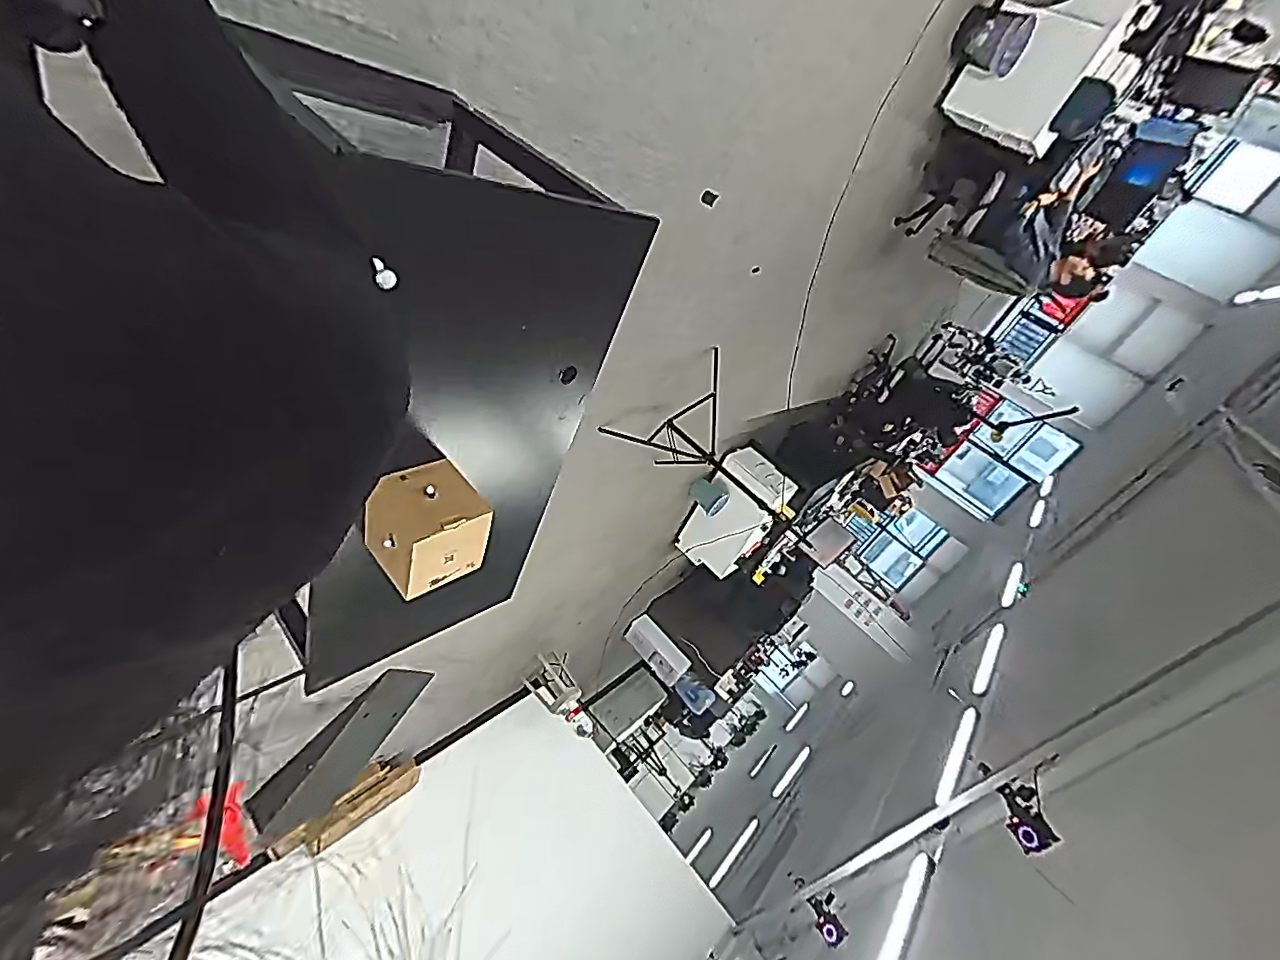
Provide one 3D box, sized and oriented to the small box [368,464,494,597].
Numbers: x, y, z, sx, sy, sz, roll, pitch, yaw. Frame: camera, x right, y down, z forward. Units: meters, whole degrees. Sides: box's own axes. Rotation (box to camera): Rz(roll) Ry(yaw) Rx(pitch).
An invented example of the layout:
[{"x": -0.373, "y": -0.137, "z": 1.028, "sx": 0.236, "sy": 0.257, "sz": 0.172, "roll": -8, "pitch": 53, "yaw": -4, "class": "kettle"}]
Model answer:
[{"x": -0.415, "y": 0.088, "z": 1.061, "sx": 0.168, "sy": 0.176, "sz": 0.179, "roll": -24, "pitch": 147, "yaw": -44, "class": "small box"}]
